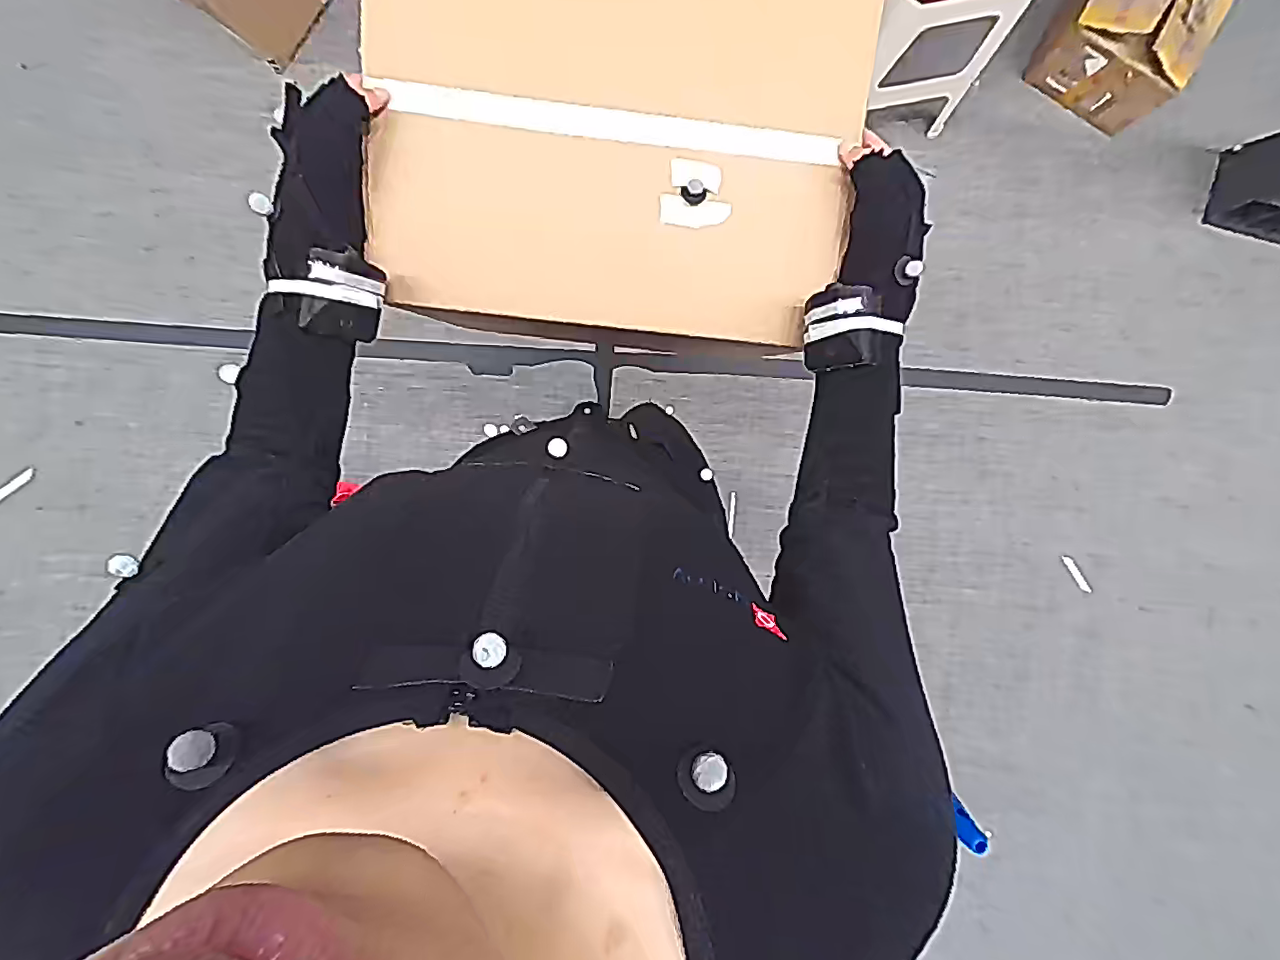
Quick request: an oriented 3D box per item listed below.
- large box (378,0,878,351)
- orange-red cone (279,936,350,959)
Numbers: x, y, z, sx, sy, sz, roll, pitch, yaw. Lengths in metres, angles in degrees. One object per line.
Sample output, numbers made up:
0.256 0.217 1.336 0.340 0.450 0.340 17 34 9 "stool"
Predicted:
-0.023 -0.322 0.592 0.408 0.320 0.320 5 101 -5 "large box"
-0.913 1.398 1.354 0.198 0.360 0.199 1 95 -2 "orange-red cone"
